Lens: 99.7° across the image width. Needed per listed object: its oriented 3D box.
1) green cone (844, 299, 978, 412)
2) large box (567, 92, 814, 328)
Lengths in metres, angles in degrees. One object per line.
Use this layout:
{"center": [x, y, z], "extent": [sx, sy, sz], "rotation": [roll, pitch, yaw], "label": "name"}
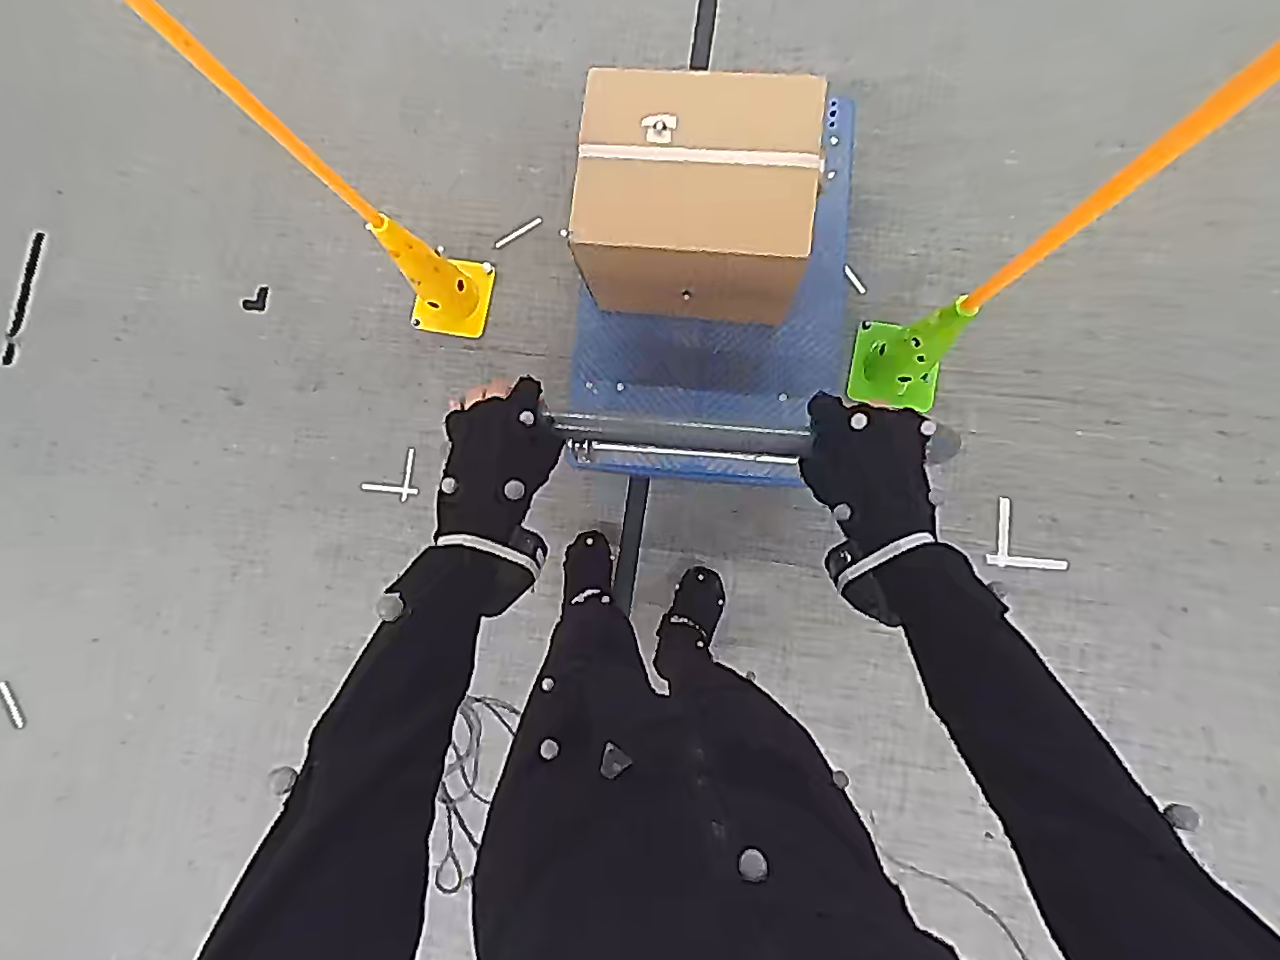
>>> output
{"center": [0.593, -0.288, 1.143], "extent": [0.202, 0.368, 0.200], "rotation": [11, 86, 5], "label": "green cone"}
{"center": [0.101, -0.505, 1.068], "extent": [0.408, 0.320, 0.320], "rotation": [6, 86, 7], "label": "large box"}
